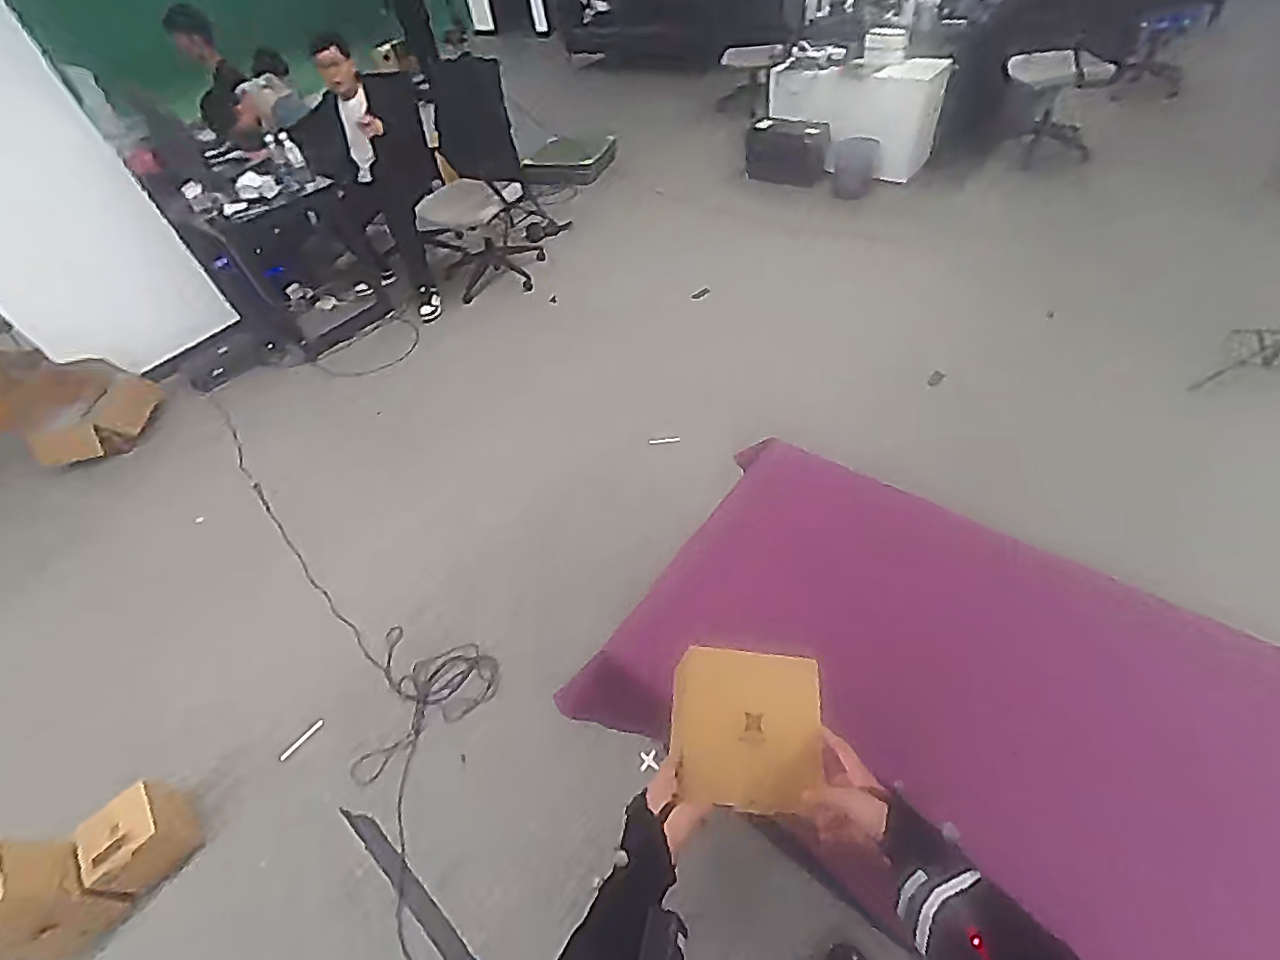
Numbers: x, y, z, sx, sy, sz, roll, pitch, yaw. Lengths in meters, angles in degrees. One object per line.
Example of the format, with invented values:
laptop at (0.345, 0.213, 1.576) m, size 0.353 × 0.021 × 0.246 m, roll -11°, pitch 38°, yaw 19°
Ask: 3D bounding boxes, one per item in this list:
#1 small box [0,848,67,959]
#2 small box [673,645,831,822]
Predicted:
small box at (-1.452, 0.974, 1.214) m, size 0.168 × 0.176 × 0.179 m, roll 33°, pitch 62°, yaw 32°
small box at (0.137, 0.333, 0.711) m, size 0.168 × 0.176 × 0.179 m, roll 7°, pitch 62°, yaw 1°
